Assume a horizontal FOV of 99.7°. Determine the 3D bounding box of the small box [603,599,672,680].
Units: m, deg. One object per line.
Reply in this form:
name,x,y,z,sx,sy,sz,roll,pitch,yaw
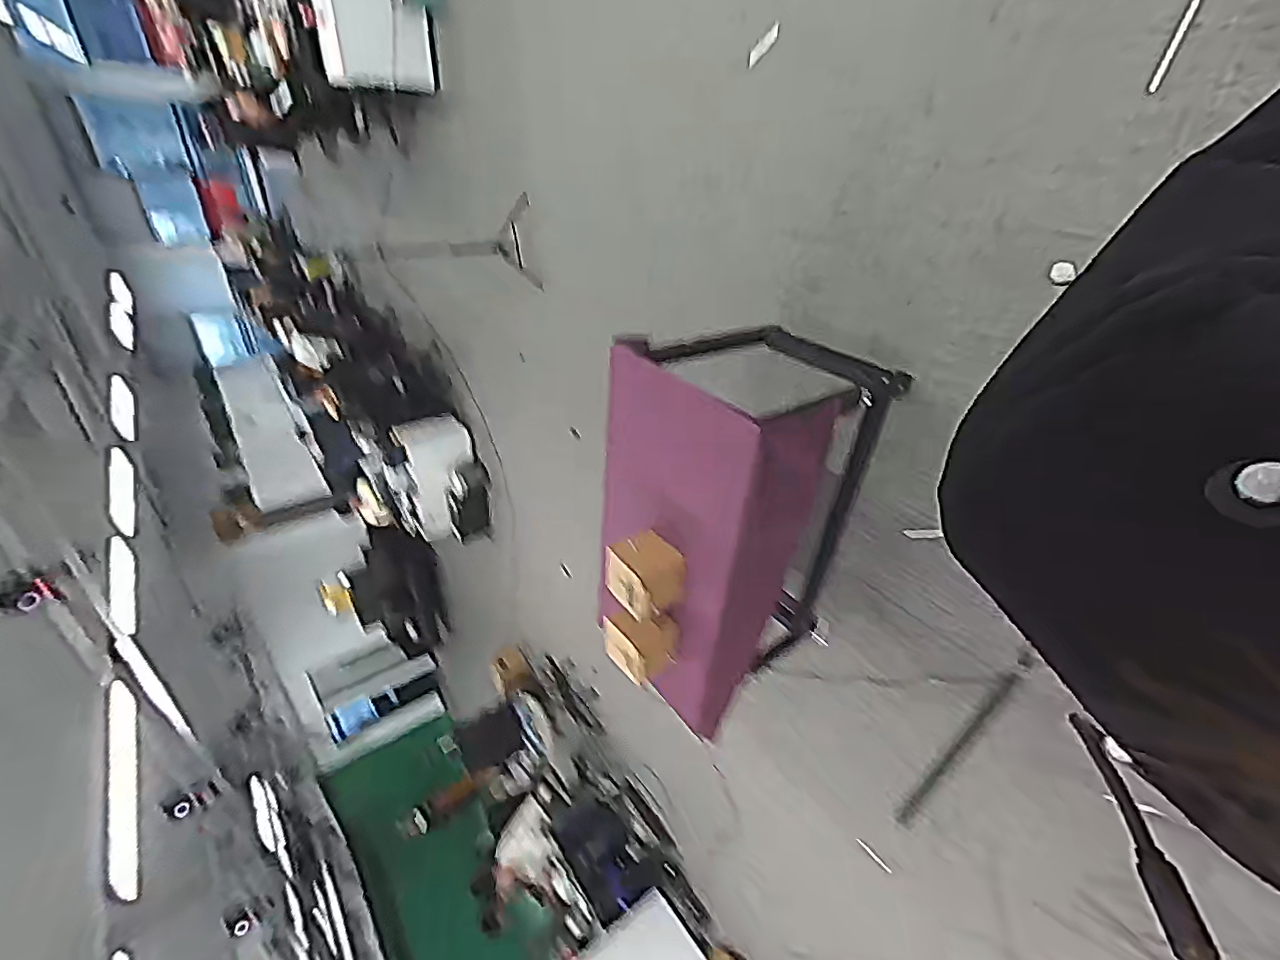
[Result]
small box,-0.007,0.531,1.827,0.179,0.176,0.168,30,129,46
